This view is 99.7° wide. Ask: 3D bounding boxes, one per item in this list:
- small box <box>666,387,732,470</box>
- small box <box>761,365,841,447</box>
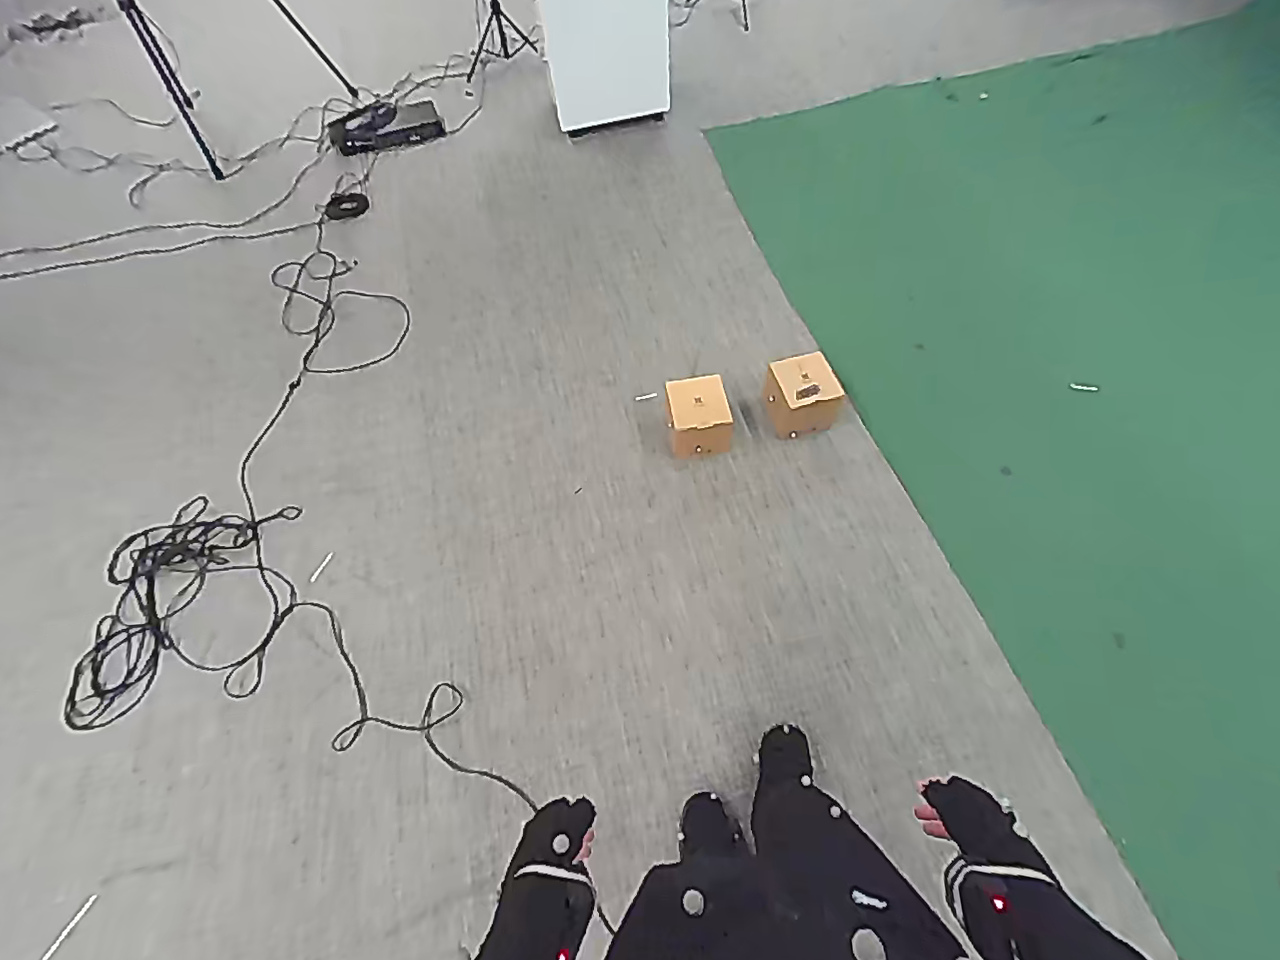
[{"bbox_3d":[0.170,-0.153,1.627,0.168,0.176,0.179,-9,61,-2],"label":"small box"},{"bbox_3d":[0.482,-0.216,1.645,0.168,0.176,0.179,-13,60,-4],"label":"small box"}]
